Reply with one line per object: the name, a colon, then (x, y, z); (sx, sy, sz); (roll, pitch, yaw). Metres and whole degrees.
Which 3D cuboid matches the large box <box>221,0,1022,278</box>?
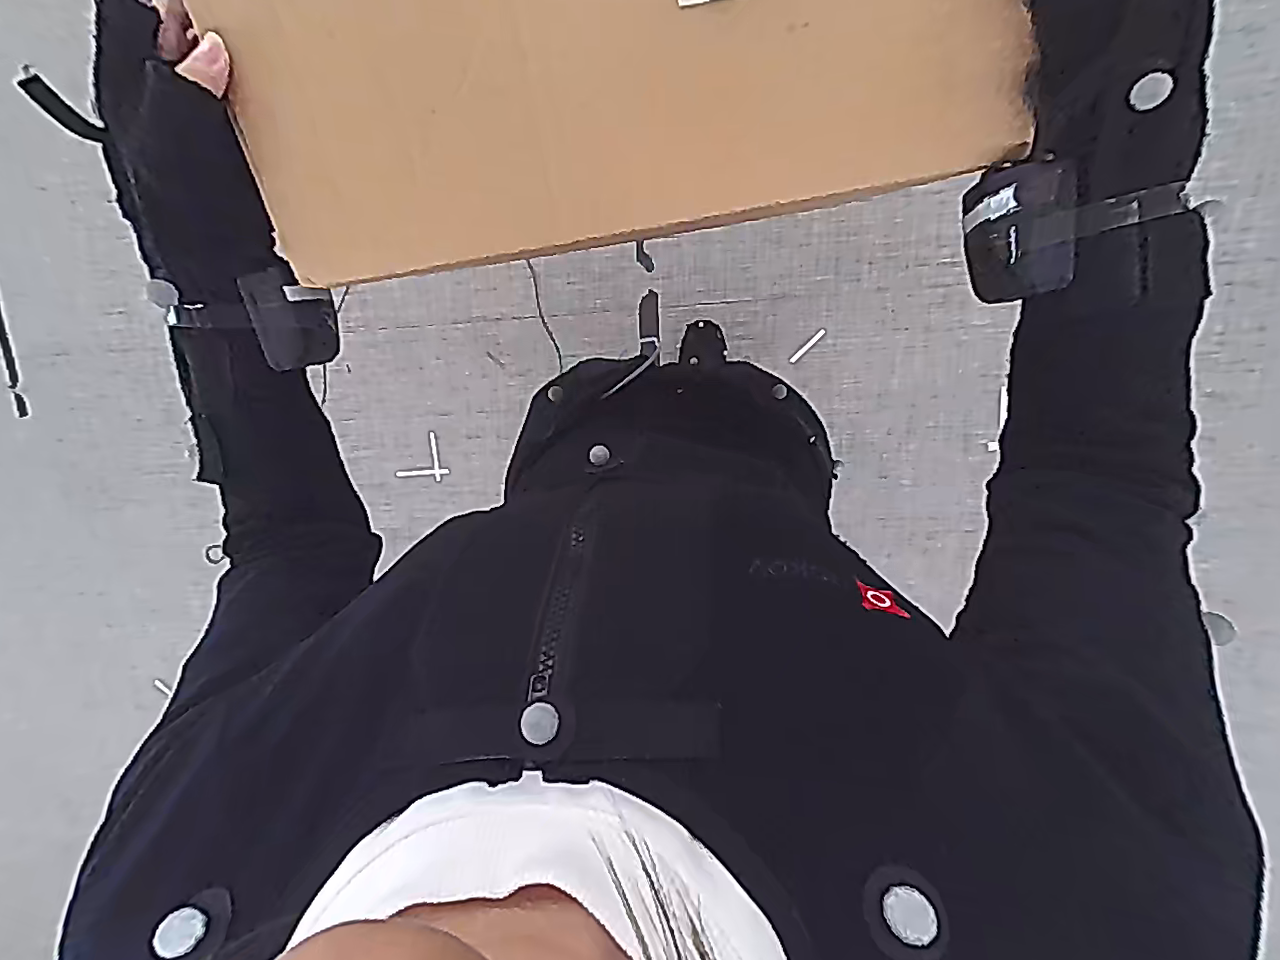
large box: (-0.017, -0.349, 0.387); (0.408, 0.320, 0.320); (-7, 114, 8)
